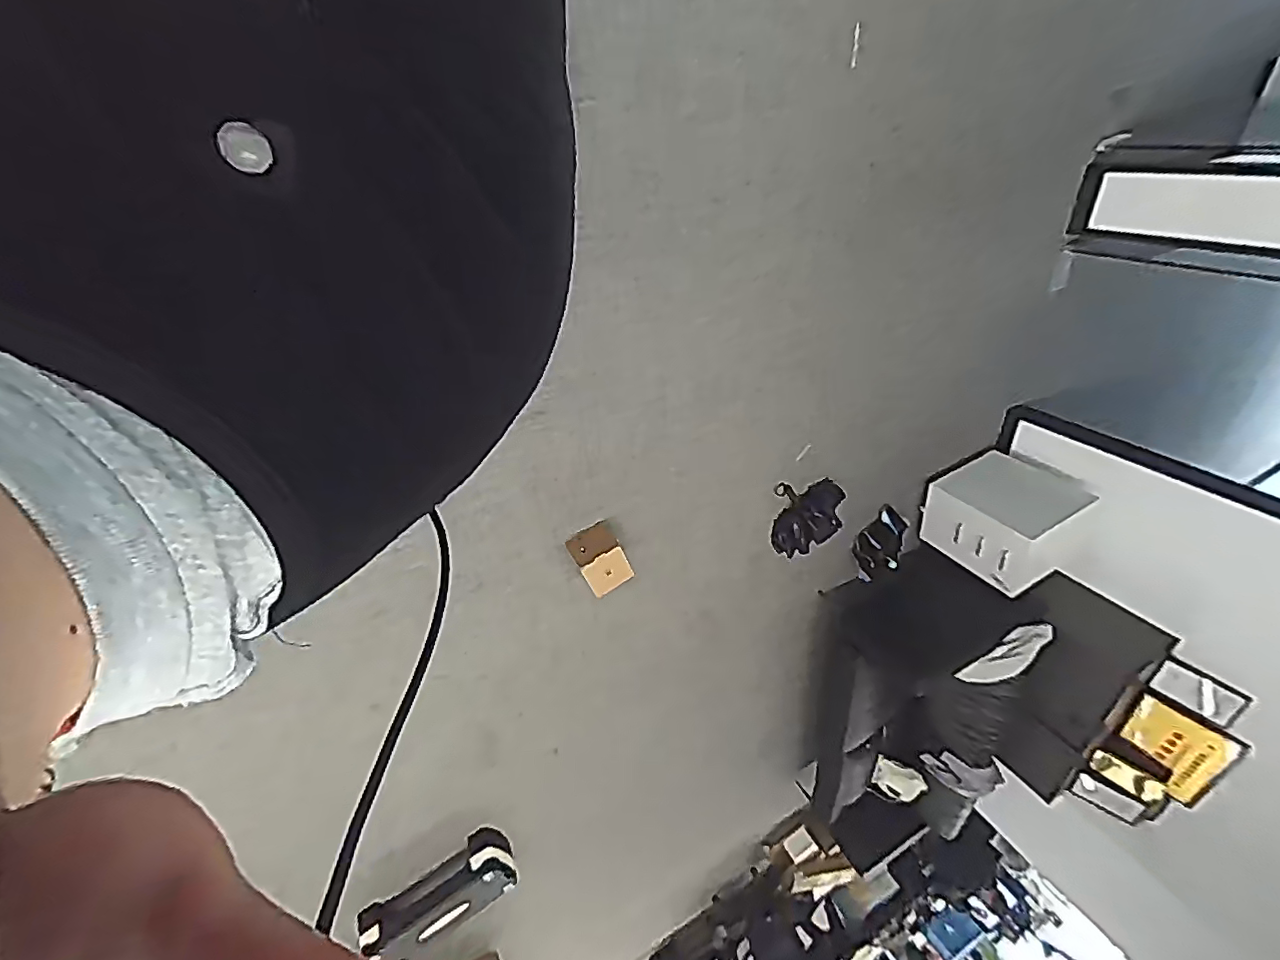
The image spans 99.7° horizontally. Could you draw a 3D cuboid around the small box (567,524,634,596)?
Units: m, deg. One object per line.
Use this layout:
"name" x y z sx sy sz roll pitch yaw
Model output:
"small box" -0.151 0.289 2.009 0.168 0.176 0.179 -31 131 -9
